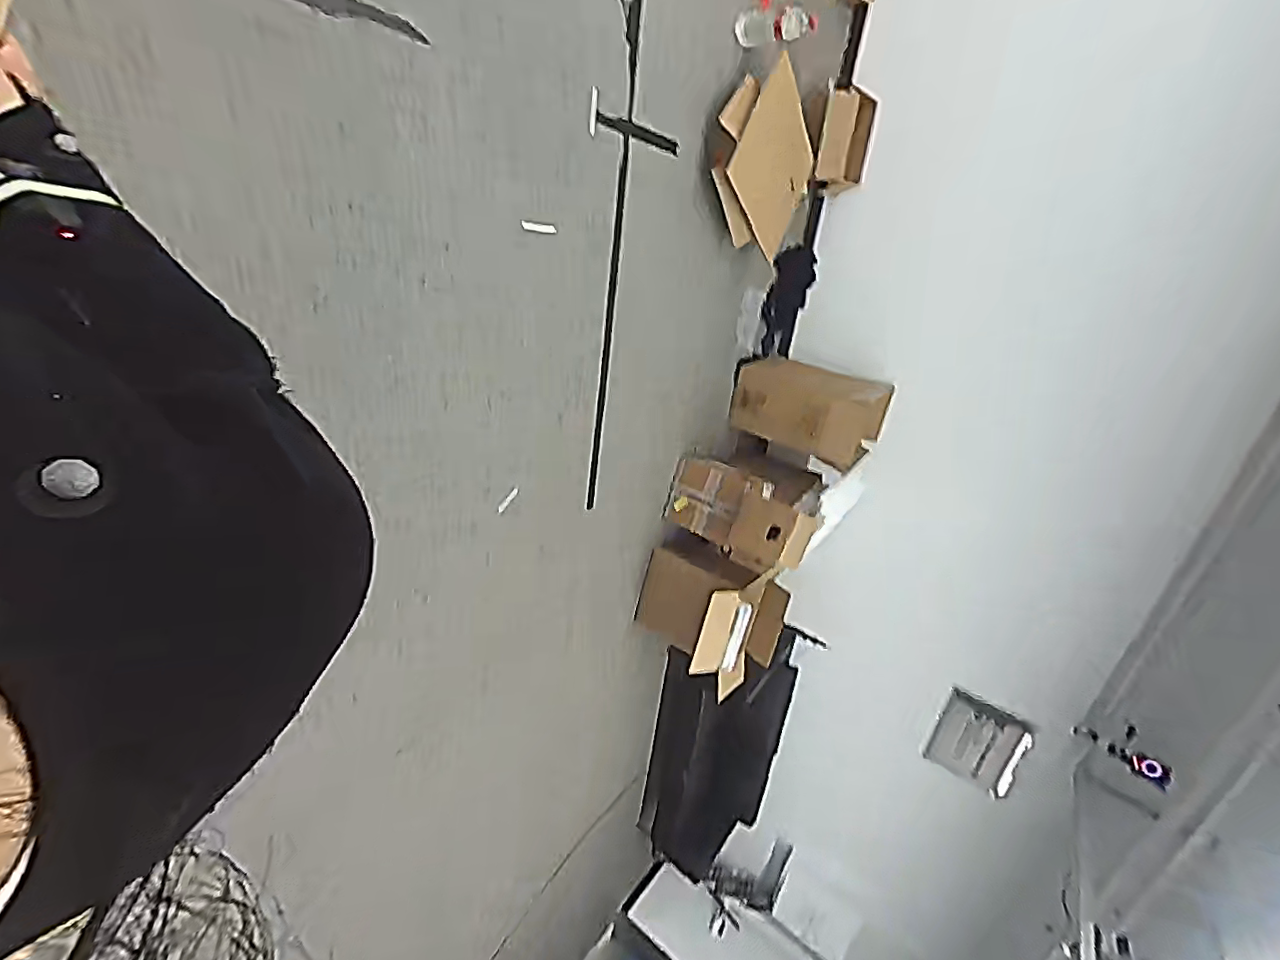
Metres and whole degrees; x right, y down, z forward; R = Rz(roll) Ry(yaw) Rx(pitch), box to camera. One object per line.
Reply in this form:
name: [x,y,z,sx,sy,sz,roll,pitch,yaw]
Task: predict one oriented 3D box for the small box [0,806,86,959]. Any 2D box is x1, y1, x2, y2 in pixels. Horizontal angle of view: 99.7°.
small box: [-1.112,0.714,0.927,0.179,0.176,0.168,-23,126,-48]
